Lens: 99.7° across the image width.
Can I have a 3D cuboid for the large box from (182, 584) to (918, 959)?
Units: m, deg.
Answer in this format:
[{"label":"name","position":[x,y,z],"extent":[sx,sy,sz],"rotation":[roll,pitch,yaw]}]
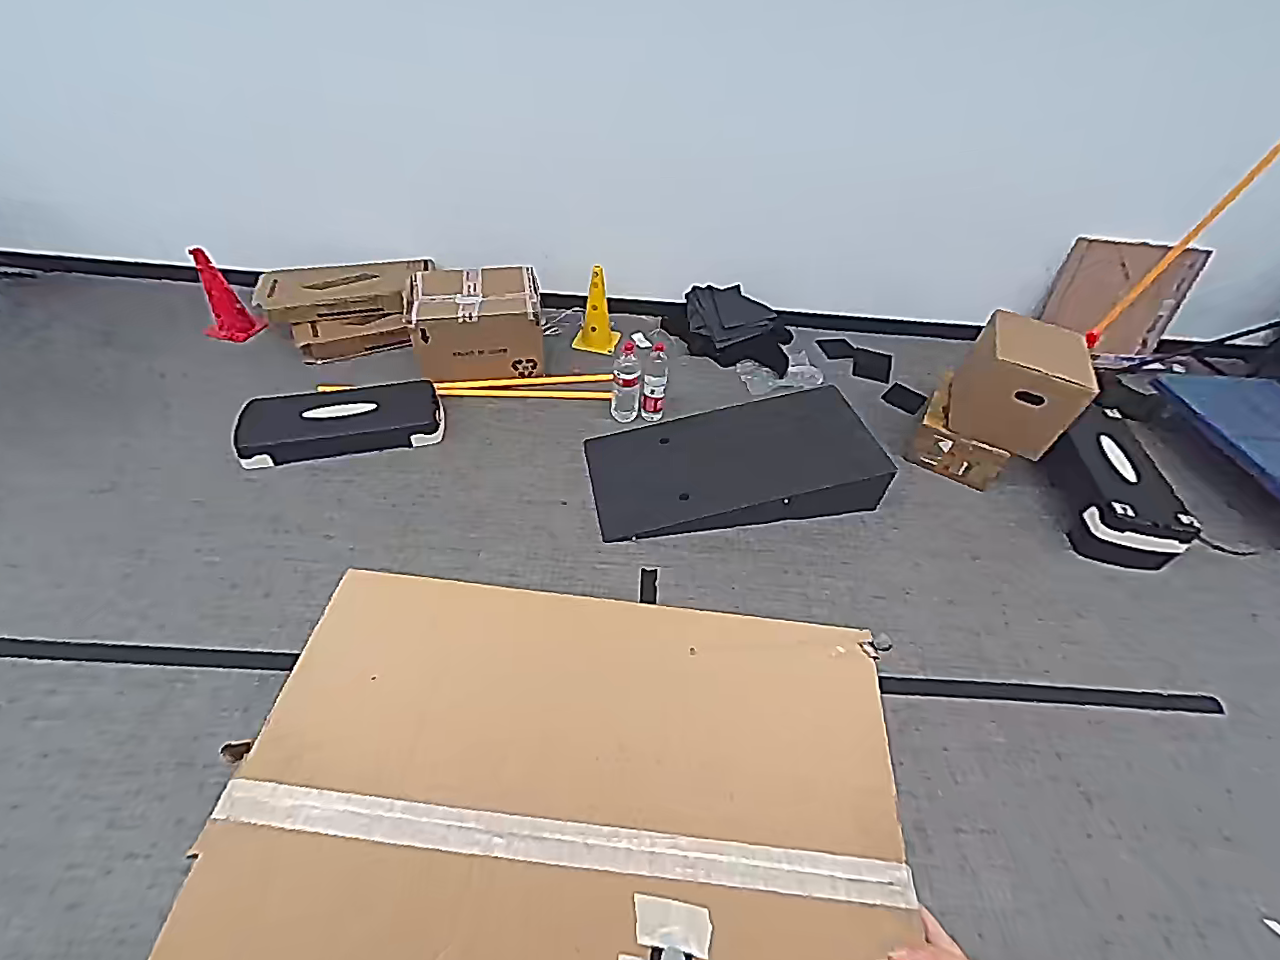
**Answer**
[{"label":"large box","position":[-0.047,0.311,0.443],"extent":[0.408,0.320,0.320],"rotation":[6,52,1]}]
